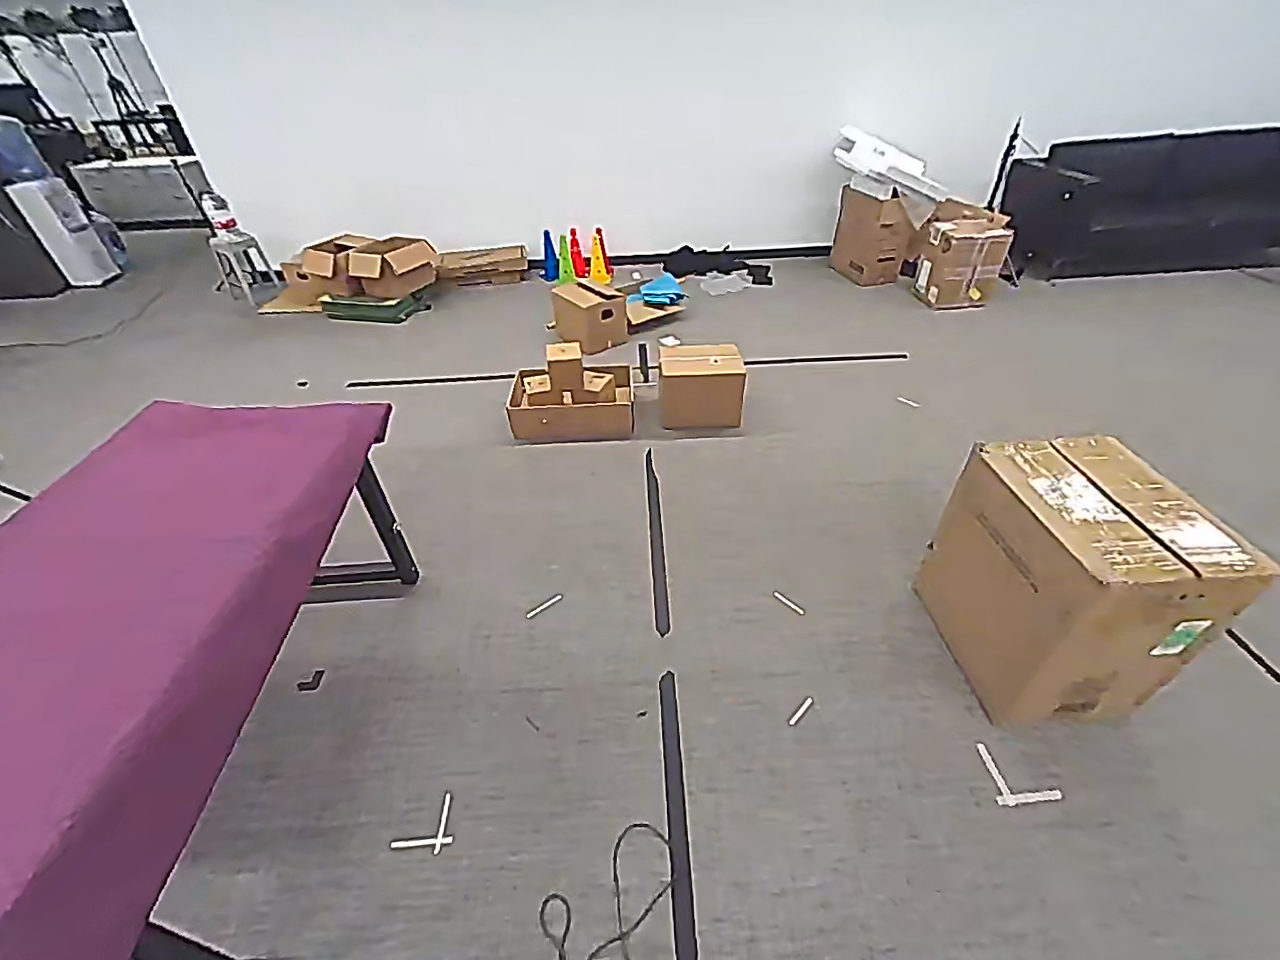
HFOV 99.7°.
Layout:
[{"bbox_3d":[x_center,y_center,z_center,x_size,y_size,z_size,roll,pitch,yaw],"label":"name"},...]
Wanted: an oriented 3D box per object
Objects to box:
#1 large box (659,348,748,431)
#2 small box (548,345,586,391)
[{"bbox_3d":[0.311,-0.464,2.767,0.408,0.320,0.320,-2,40,-1],"label":"large box"},{"bbox_3d":[-0.361,-0.547,2.668,0.168,0.176,0.179,-6,38,-7],"label":"small box"}]
